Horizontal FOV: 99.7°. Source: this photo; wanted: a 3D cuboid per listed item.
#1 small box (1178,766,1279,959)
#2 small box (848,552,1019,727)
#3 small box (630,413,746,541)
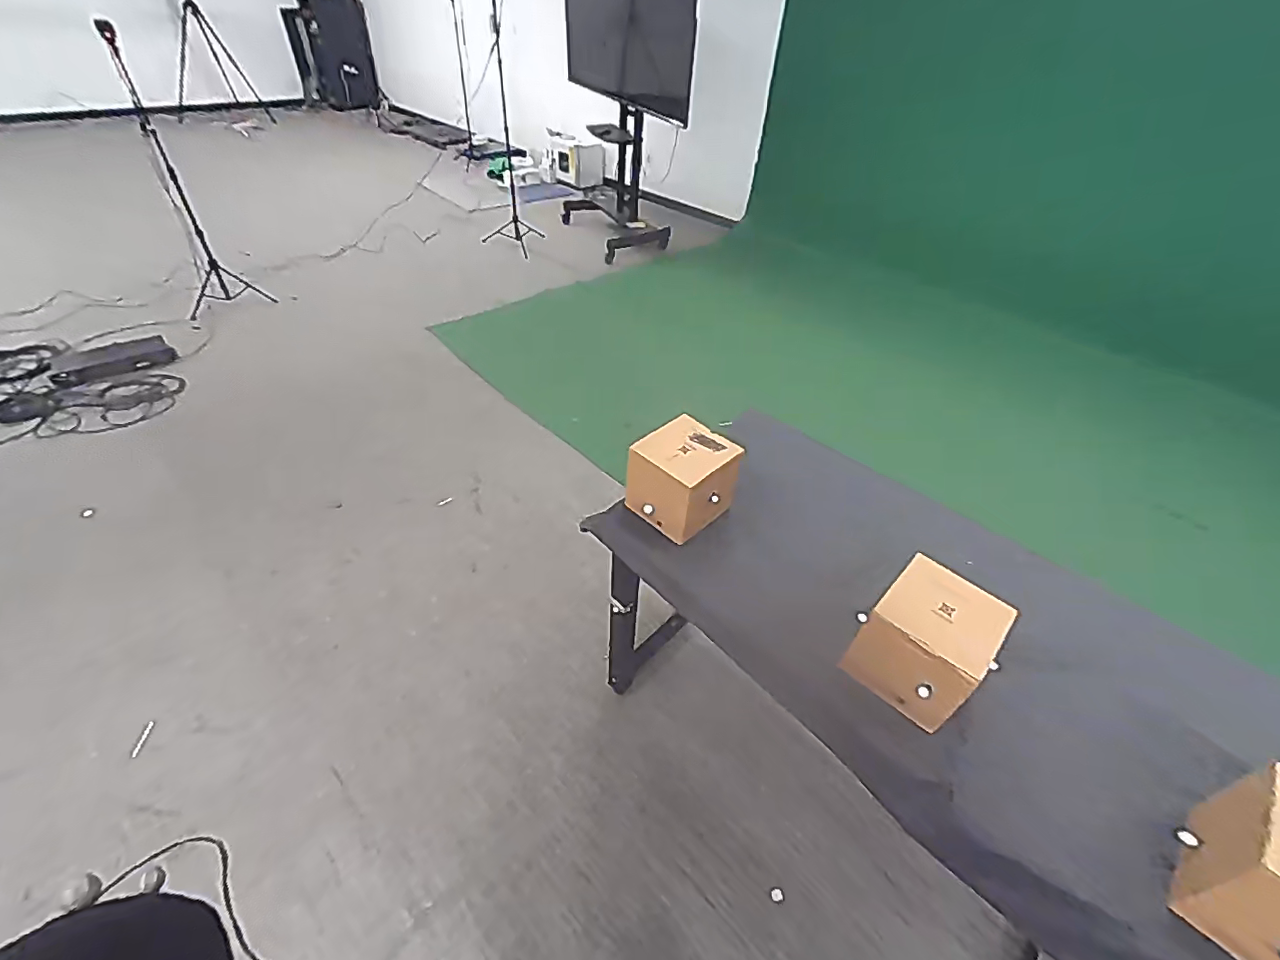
[{"bbox_3d":[0.800,0.492,0.641,0.179,0.176,0.168,-29,50,-32],"label":"small box"},{"bbox_3d":[0.463,0.259,0.877,0.168,0.176,0.179,36,49,28],"label":"small box"},{"bbox_3d":[0.092,-0.008,1.132,0.168,0.176,0.179,35,50,29],"label":"small box"}]
